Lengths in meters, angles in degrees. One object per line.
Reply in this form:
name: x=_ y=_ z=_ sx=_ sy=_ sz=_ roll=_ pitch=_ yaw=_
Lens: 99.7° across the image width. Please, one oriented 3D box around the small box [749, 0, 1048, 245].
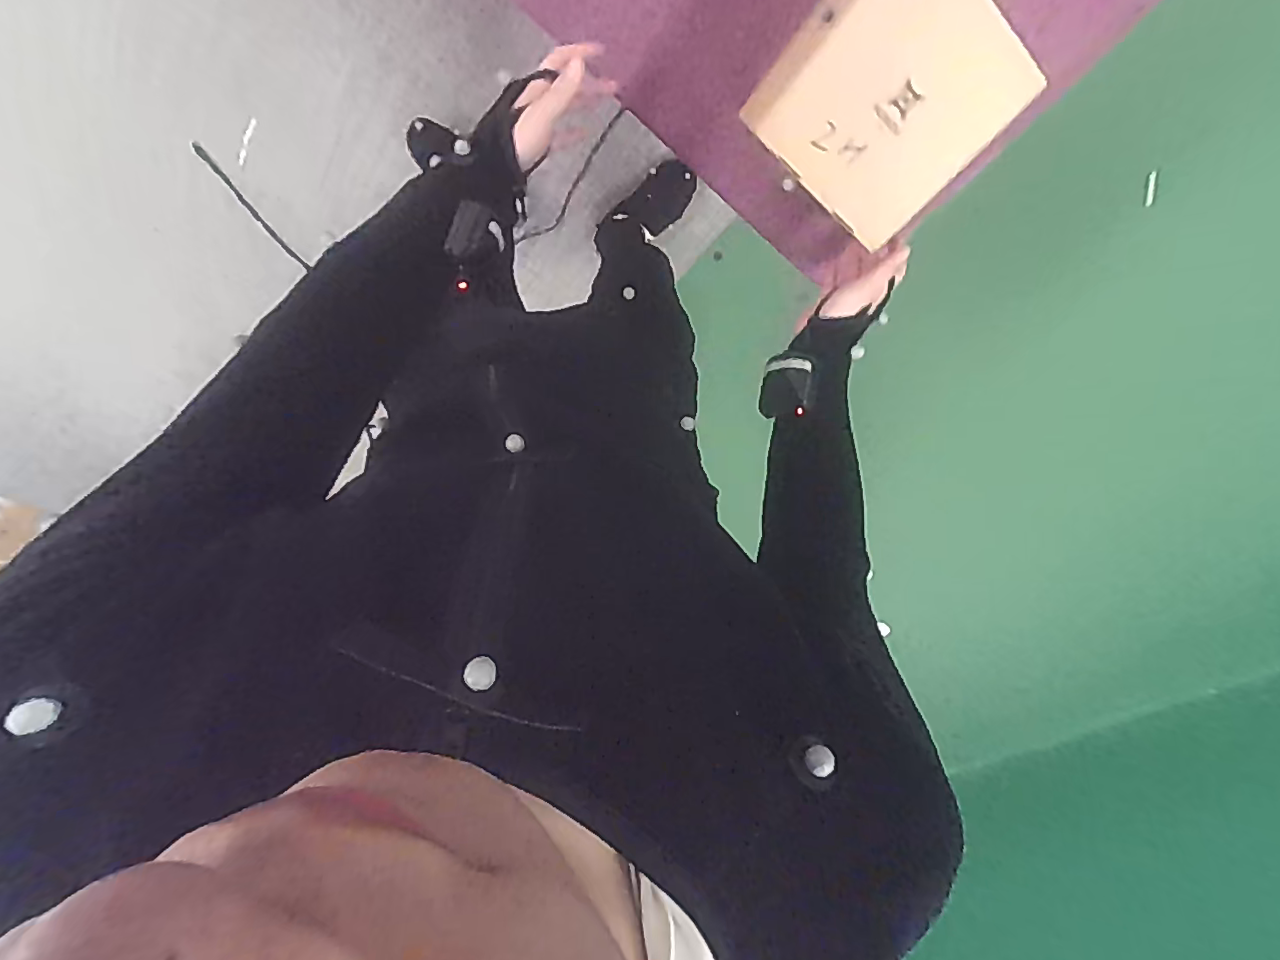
small box: x=0.221 y=-0.369 z=0.514 sx=0.168 sy=0.176 sz=0.179 roll=33 pitch=125 yaw=-20
